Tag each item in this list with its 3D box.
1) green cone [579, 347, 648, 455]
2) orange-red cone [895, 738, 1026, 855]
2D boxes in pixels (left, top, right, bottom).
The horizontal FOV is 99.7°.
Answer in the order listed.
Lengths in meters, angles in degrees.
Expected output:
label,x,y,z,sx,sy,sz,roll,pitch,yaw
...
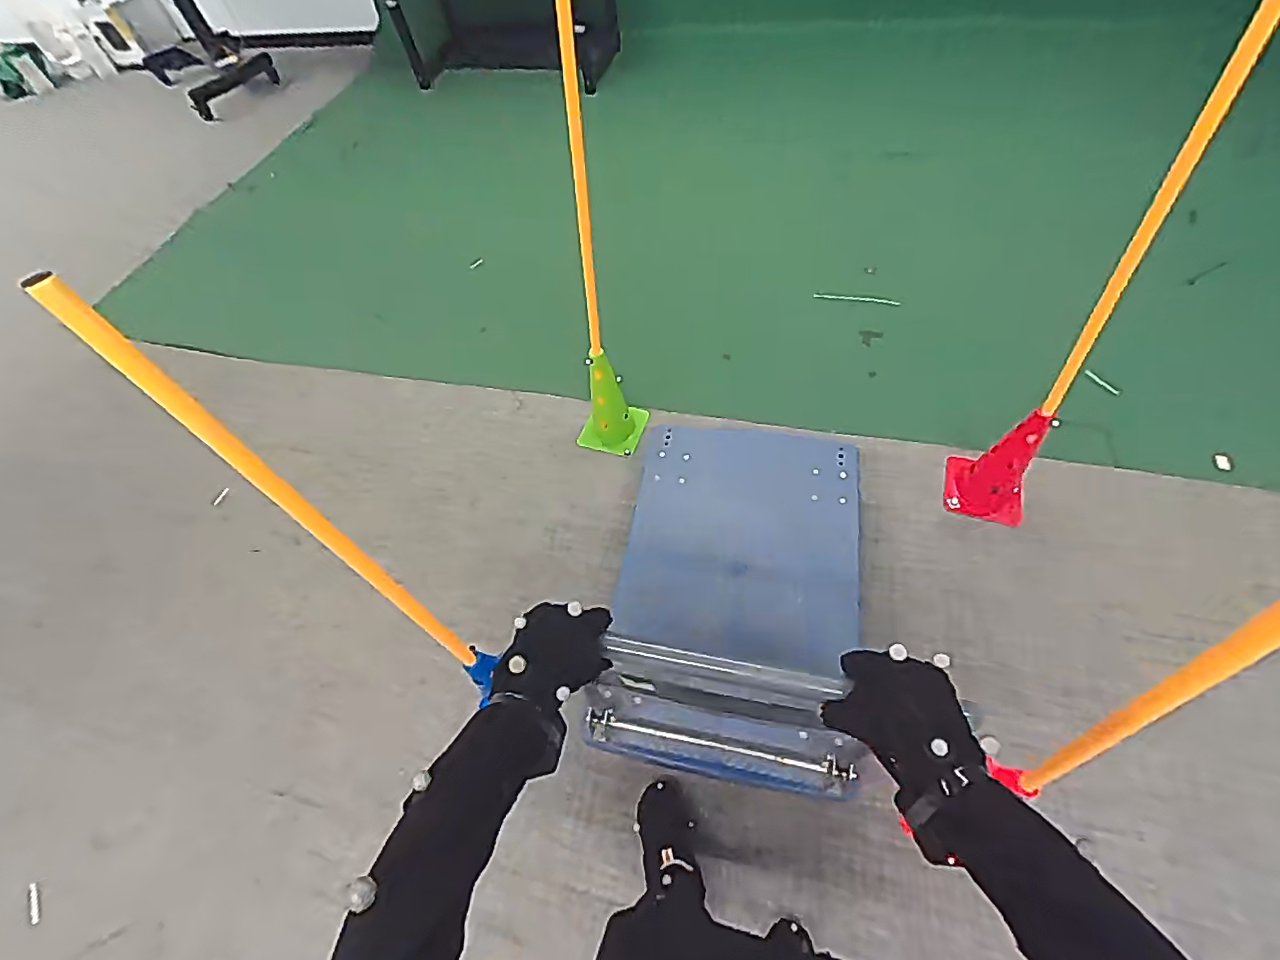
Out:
label,x,y,z,sx,sy,sz,roll,pitch,yaw
green cone,-0.107,-0.271,1.696,0.202,0.368,0.200,13,59,15
orange-red cone,0.649,0.601,1.056,0.199,0.360,0.198,8,58,14
